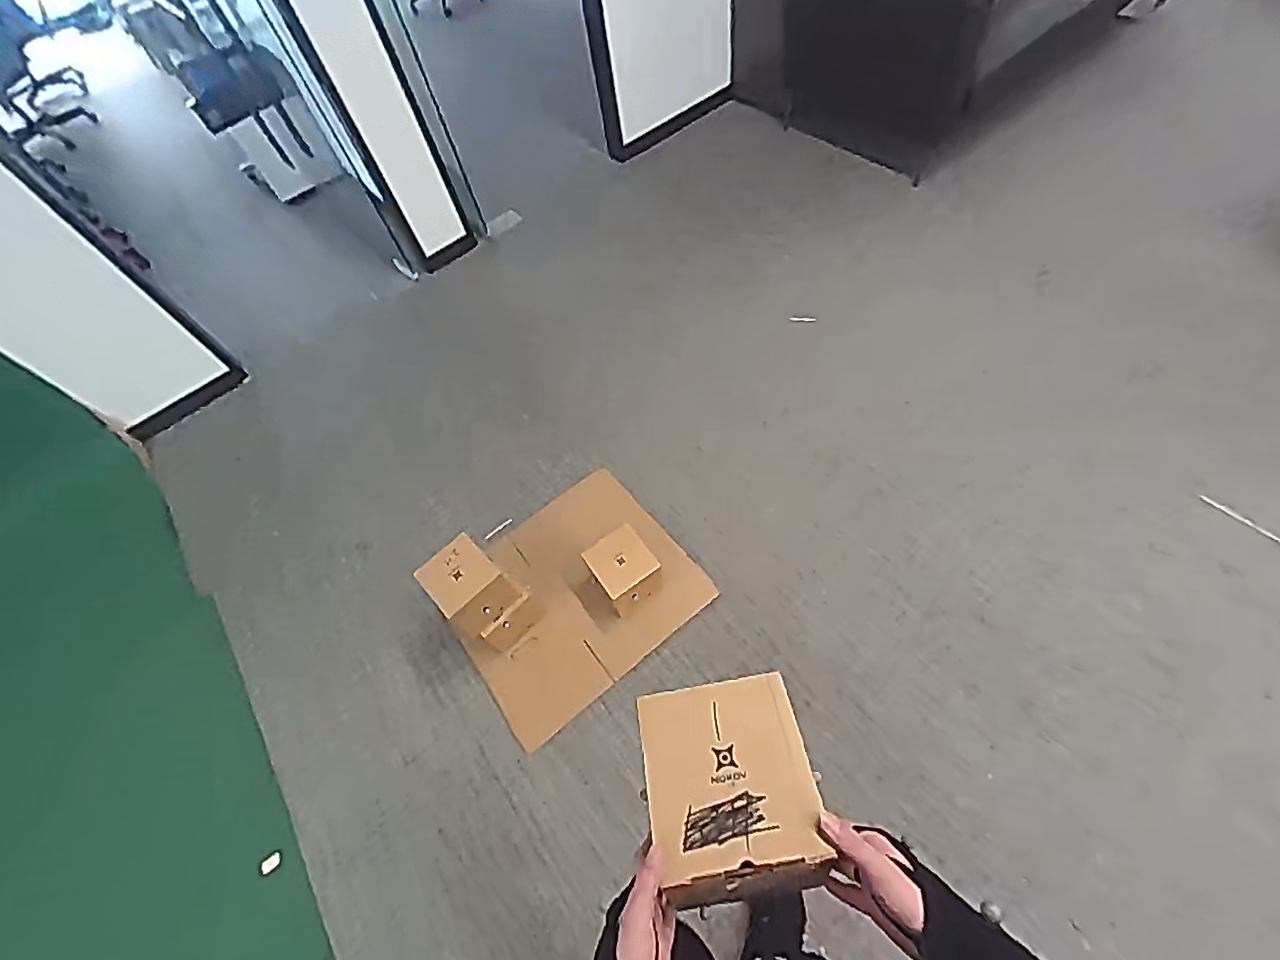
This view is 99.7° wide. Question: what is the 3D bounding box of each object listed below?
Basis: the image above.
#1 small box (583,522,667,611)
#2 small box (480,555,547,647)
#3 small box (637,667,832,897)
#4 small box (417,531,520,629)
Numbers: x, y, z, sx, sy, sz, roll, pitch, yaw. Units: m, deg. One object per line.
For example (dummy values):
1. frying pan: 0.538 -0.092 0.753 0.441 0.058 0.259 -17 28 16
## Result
1. small box: -0.037 0.261 1.576 0.168 0.176 0.179 -34 59 -12
2. small box: -0.402 0.358 1.575 0.168 0.176 0.179 -42 61 -17
3. small box: 0.098 0.336 0.595 0.168 0.176 0.179 -11 44 2
4. small box: -0.448 0.274 1.439 0.168 0.176 0.179 -41 61 -17
